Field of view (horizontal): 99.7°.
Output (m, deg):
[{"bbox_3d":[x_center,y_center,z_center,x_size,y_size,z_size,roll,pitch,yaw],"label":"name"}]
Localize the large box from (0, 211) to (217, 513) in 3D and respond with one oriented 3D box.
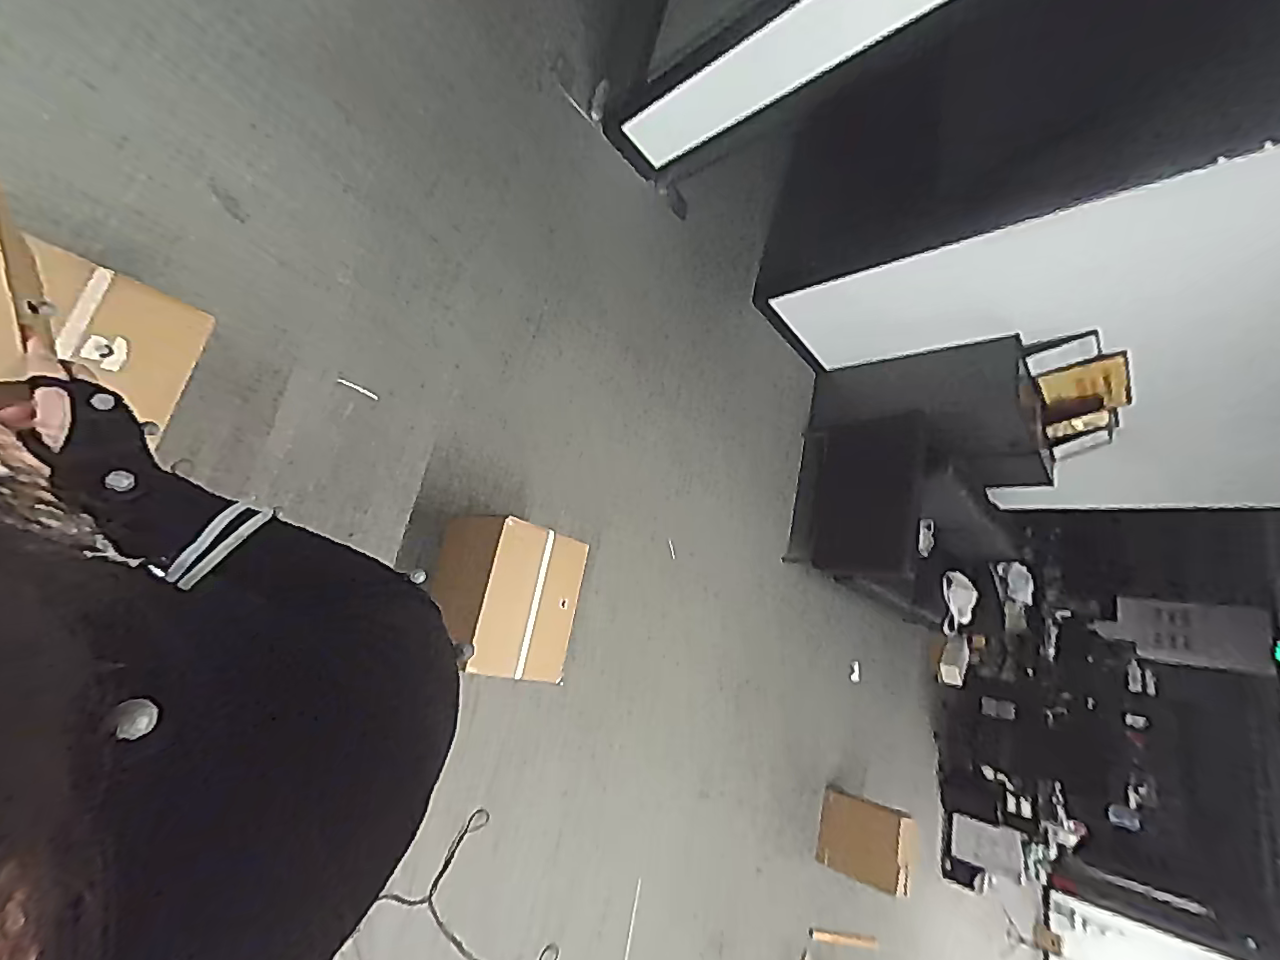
[{"bbox_3d":[-1.031,-0.173,0.960,0.320,0.320,0.408,27,68,-42],"label":"large box"}]
